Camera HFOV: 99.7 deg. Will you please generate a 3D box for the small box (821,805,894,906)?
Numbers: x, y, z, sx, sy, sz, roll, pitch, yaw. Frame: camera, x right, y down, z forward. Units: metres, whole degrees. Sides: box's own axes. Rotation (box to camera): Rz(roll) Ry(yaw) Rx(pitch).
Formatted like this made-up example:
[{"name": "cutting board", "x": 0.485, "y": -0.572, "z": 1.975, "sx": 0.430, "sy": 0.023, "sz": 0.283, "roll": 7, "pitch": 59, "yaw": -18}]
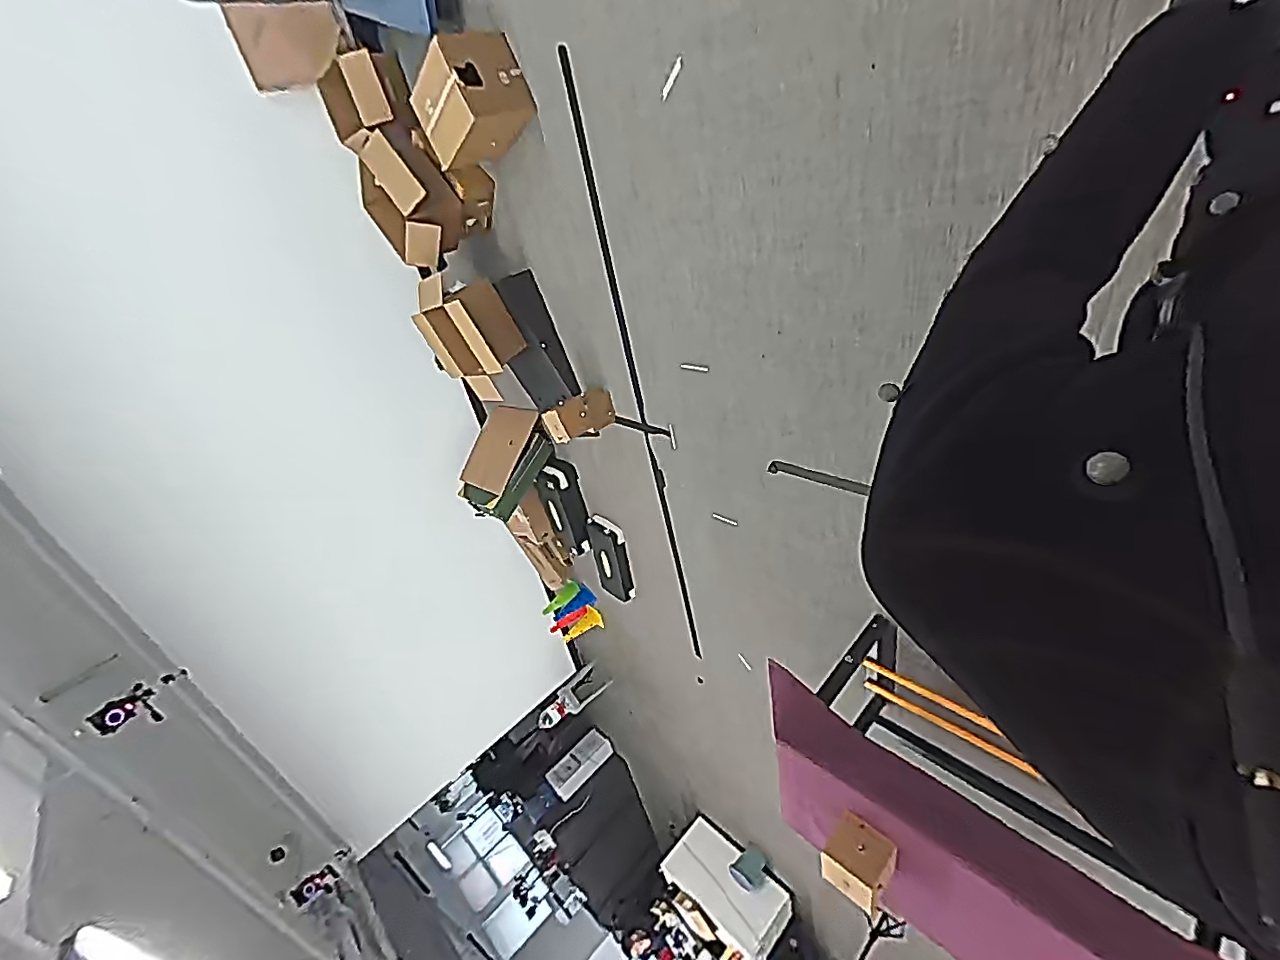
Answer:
[{"name": "small box", "x": 0.700, "y": 1.199, "z": 1.738, "sx": 0.168, "sy": 0.176, "sz": 0.179, "roll": 21, "pitch": 135, "yaw": 43}]
